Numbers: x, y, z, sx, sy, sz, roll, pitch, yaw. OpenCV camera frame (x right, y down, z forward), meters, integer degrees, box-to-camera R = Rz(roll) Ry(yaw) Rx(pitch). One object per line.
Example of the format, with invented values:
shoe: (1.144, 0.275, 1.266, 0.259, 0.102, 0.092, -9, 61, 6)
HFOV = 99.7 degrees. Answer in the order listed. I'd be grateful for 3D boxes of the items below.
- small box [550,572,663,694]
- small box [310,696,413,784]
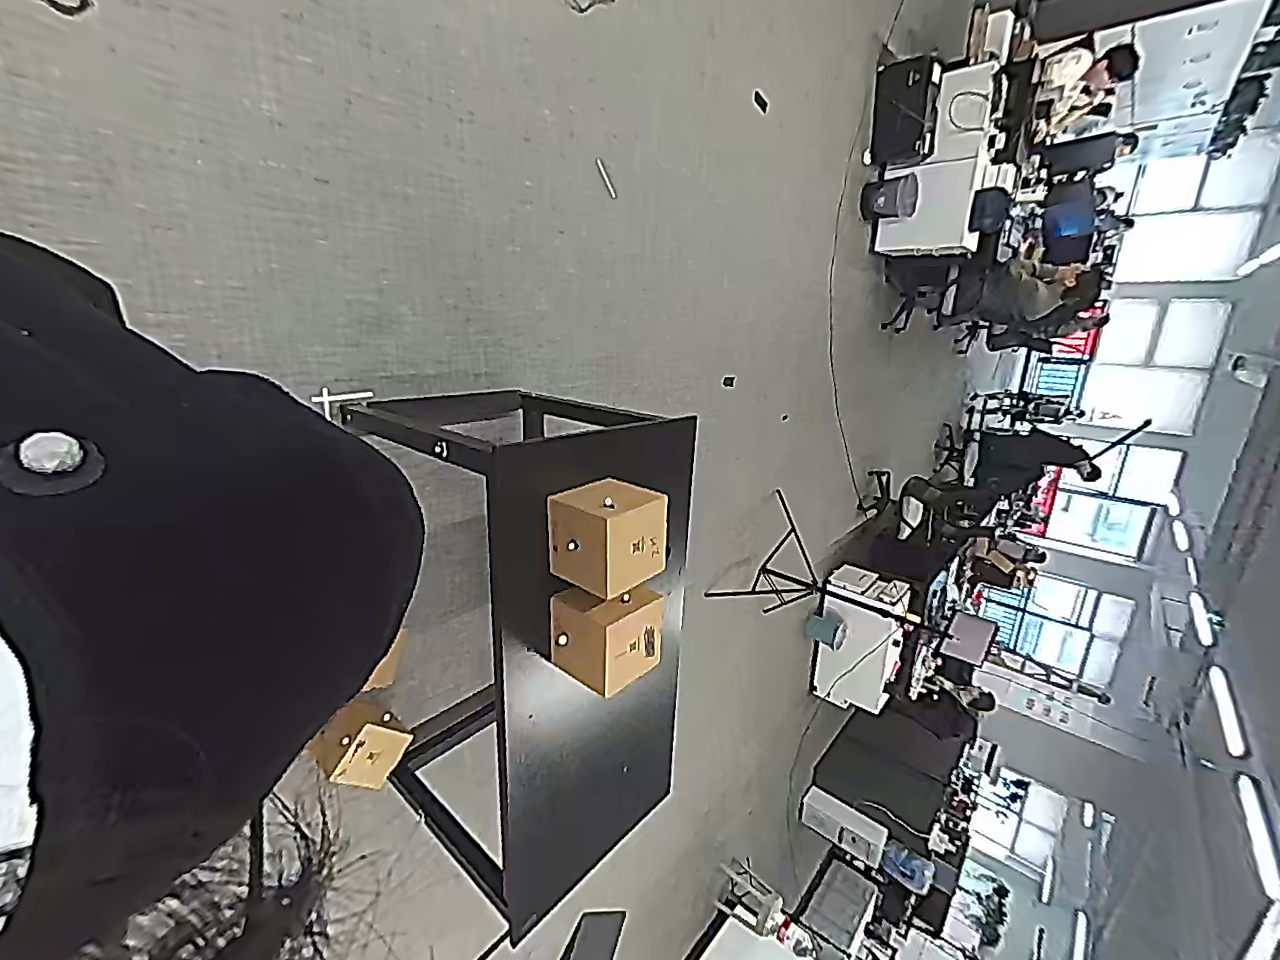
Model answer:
small box: (-0.072, 0.314, 1.158, 0.179, 0.176, 0.168, -16, 114, -46)
small box: (-0.814, 0.756, 1.580, 0.168, 0.176, 0.179, -60, 139, -18)
